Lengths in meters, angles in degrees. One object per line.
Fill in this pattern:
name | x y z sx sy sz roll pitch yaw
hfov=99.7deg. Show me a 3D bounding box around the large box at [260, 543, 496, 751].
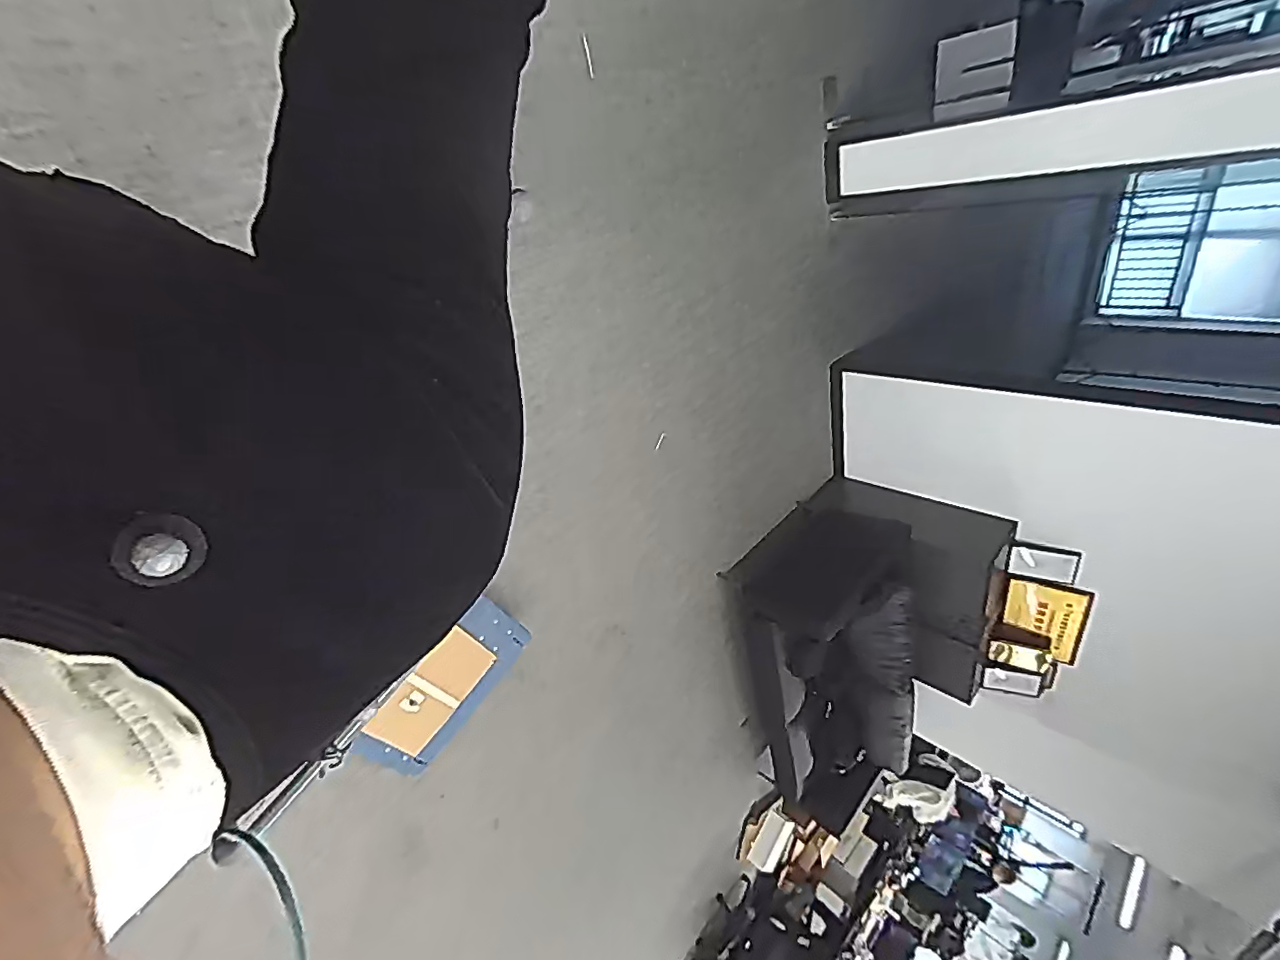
large box | -0.673 0.429 1.417 0.320 0.320 0.408 -50 135 -21
